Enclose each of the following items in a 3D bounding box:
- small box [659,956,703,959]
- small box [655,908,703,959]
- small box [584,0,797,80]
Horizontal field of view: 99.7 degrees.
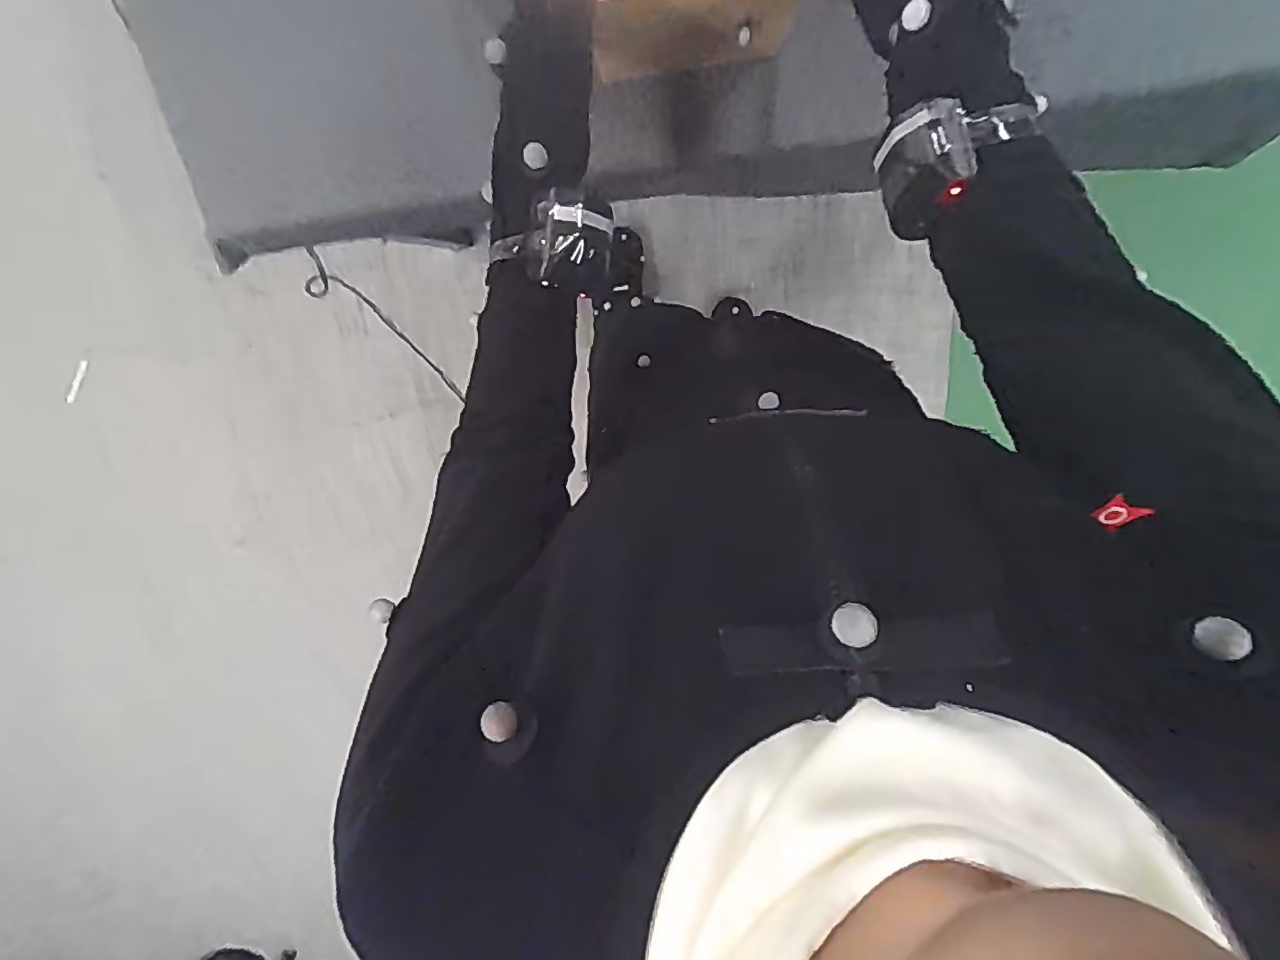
[{"bbox_3d":[0.141,1.832,1.915,0.179,0.176,0.168,-3,111,3],"label":"small box"},{"bbox_3d":[0.148,1.779,2.067,0.179,0.176,0.168,-1,113,2],"label":"small box"},{"bbox_3d":[0.037,-0.462,0.440,0.179,0.176,0.168,-7,109,6],"label":"small box"}]
